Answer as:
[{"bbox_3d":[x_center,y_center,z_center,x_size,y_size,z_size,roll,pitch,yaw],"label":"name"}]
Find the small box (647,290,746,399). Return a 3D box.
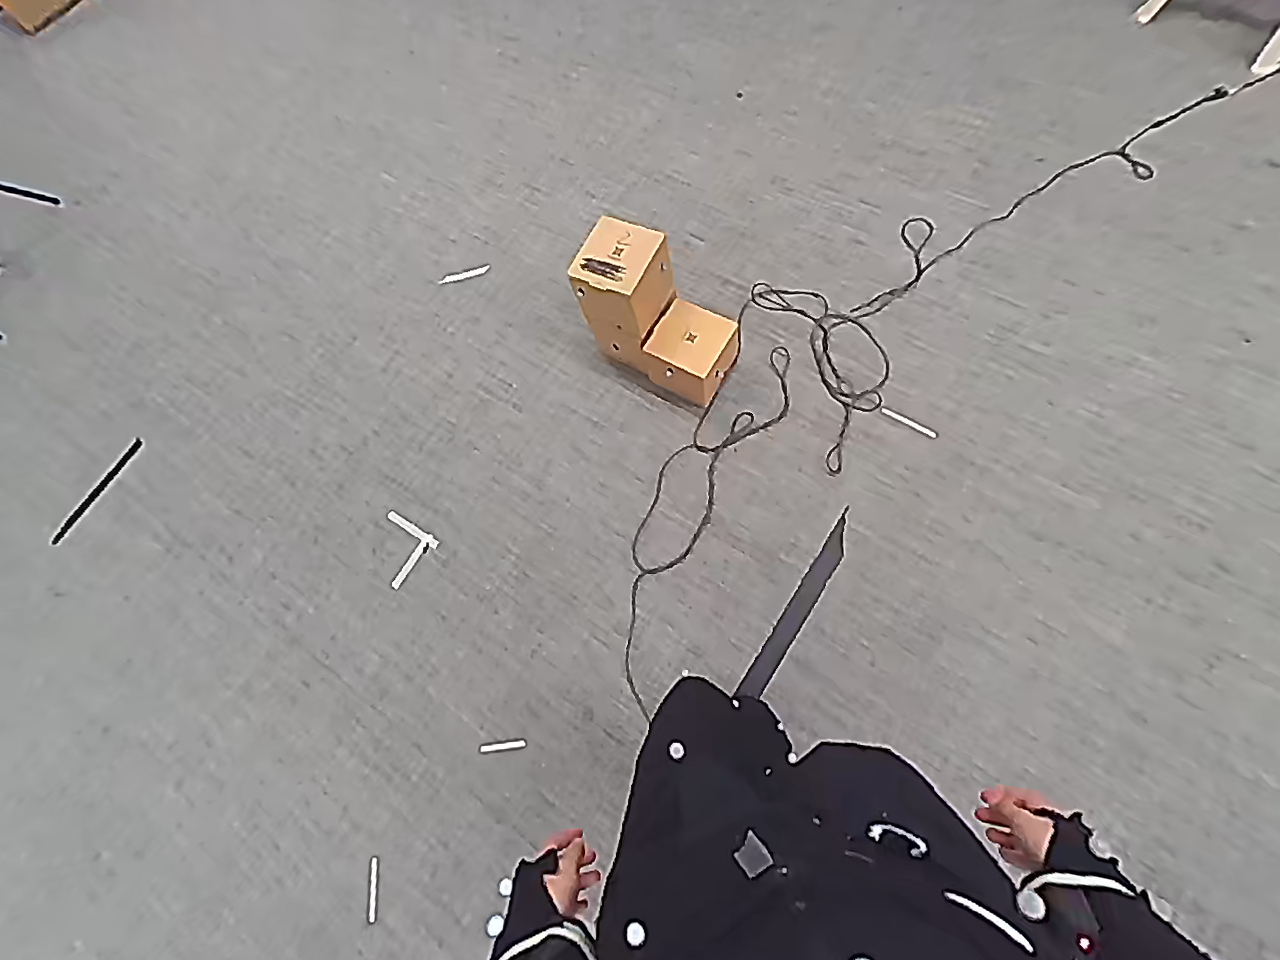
[{"bbox_3d":[0.135,-0.321,1.287,0.179,0.176,0.168,-34,84,8],"label":"small box"}]
